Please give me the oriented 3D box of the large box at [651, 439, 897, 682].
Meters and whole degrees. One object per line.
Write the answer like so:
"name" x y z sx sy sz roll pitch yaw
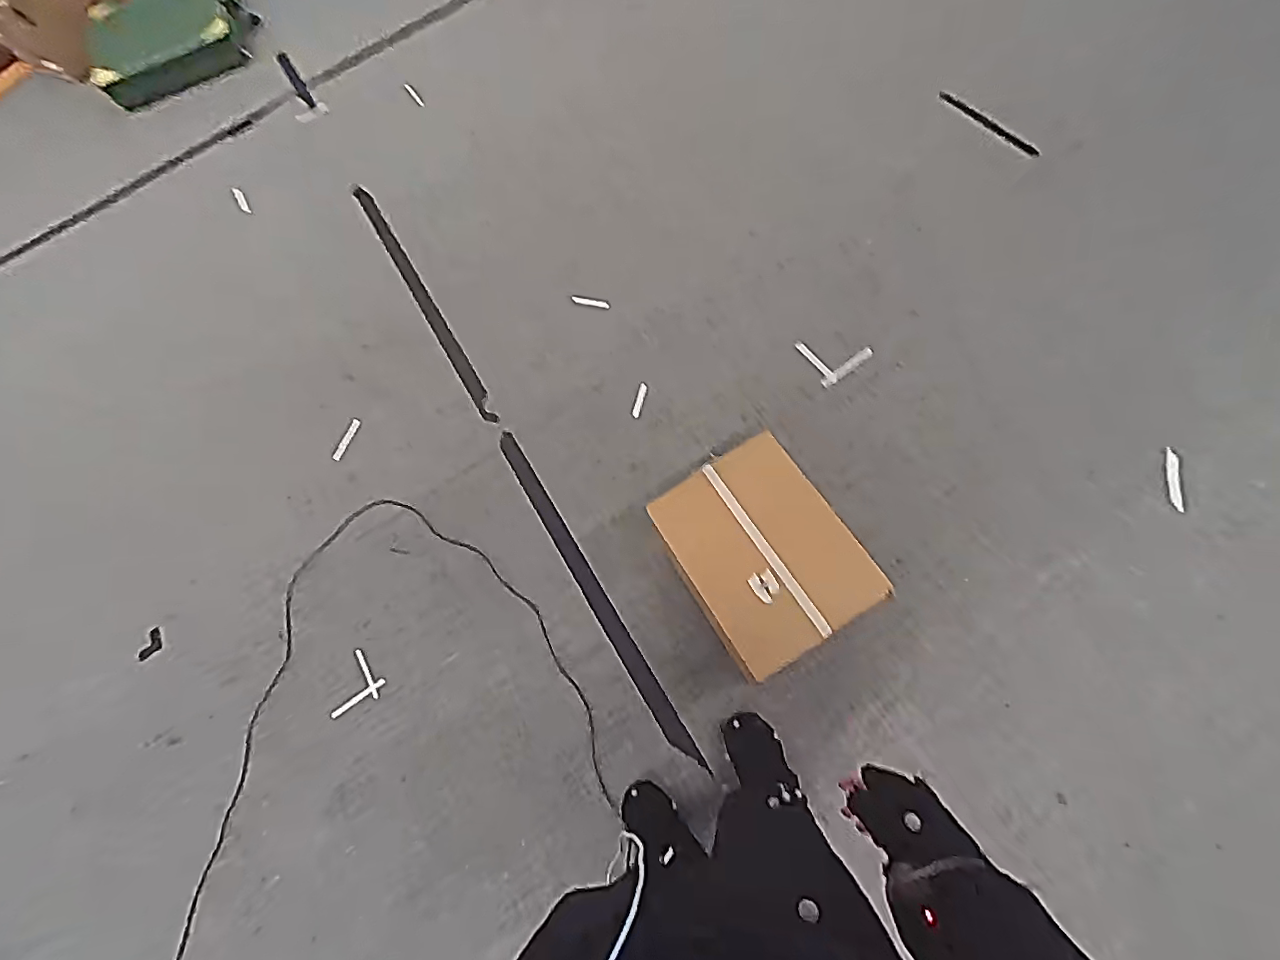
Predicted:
"large box" 0.271 0.190 1.208 0.320 0.320 0.408 -33 69 -3
